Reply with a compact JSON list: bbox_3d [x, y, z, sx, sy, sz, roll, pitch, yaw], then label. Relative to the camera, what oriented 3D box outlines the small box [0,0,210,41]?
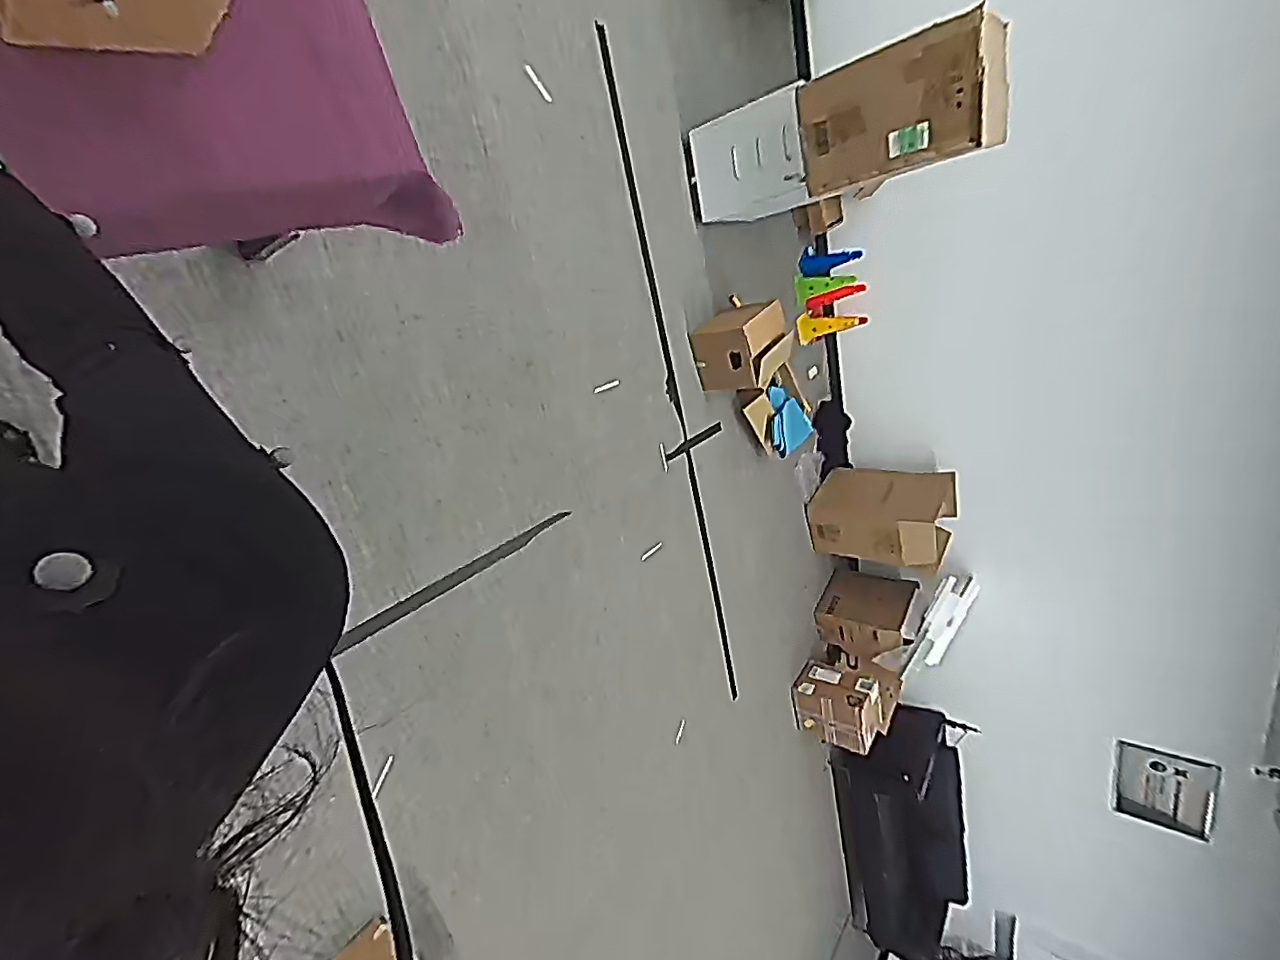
[{"bbox_3d":[-0.528,-0.543,0.498,0.179,0.176,0.168,-37,120,-42],"label":"small box"}]
